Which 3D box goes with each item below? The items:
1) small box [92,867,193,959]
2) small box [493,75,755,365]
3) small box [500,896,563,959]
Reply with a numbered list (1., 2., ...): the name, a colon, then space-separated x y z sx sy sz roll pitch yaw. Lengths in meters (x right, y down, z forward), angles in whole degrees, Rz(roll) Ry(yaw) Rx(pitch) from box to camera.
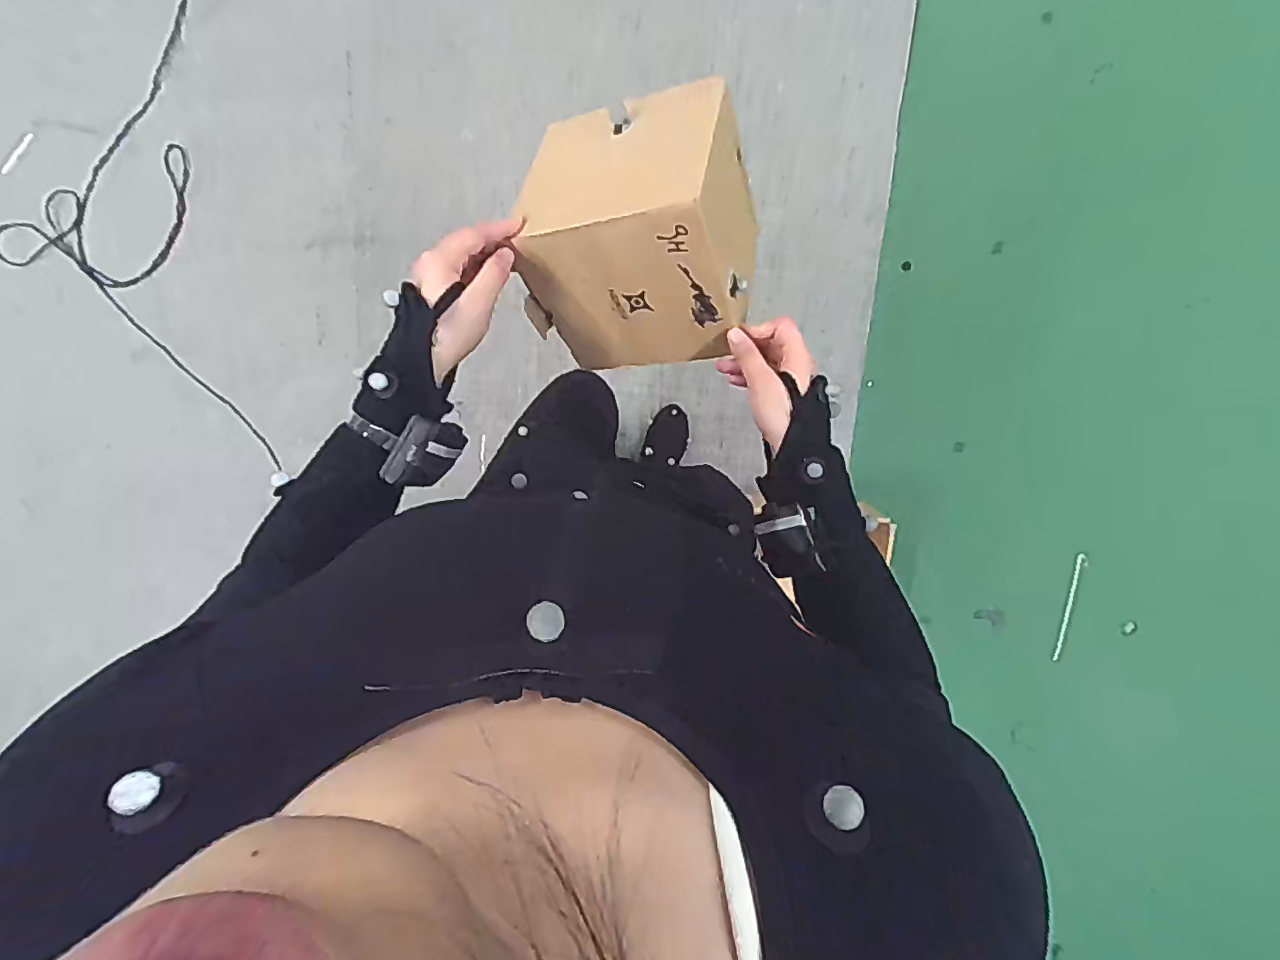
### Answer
1. small box: -1.613 1.405 1.762 0.179 0.176 0.168 5 102 1
2. small box: 0.001 -0.229 0.506 0.179 0.168 0.176 1 62 23
3. small box: -0.345 1.483 1.718 0.168 0.176 0.179 9 102 0
